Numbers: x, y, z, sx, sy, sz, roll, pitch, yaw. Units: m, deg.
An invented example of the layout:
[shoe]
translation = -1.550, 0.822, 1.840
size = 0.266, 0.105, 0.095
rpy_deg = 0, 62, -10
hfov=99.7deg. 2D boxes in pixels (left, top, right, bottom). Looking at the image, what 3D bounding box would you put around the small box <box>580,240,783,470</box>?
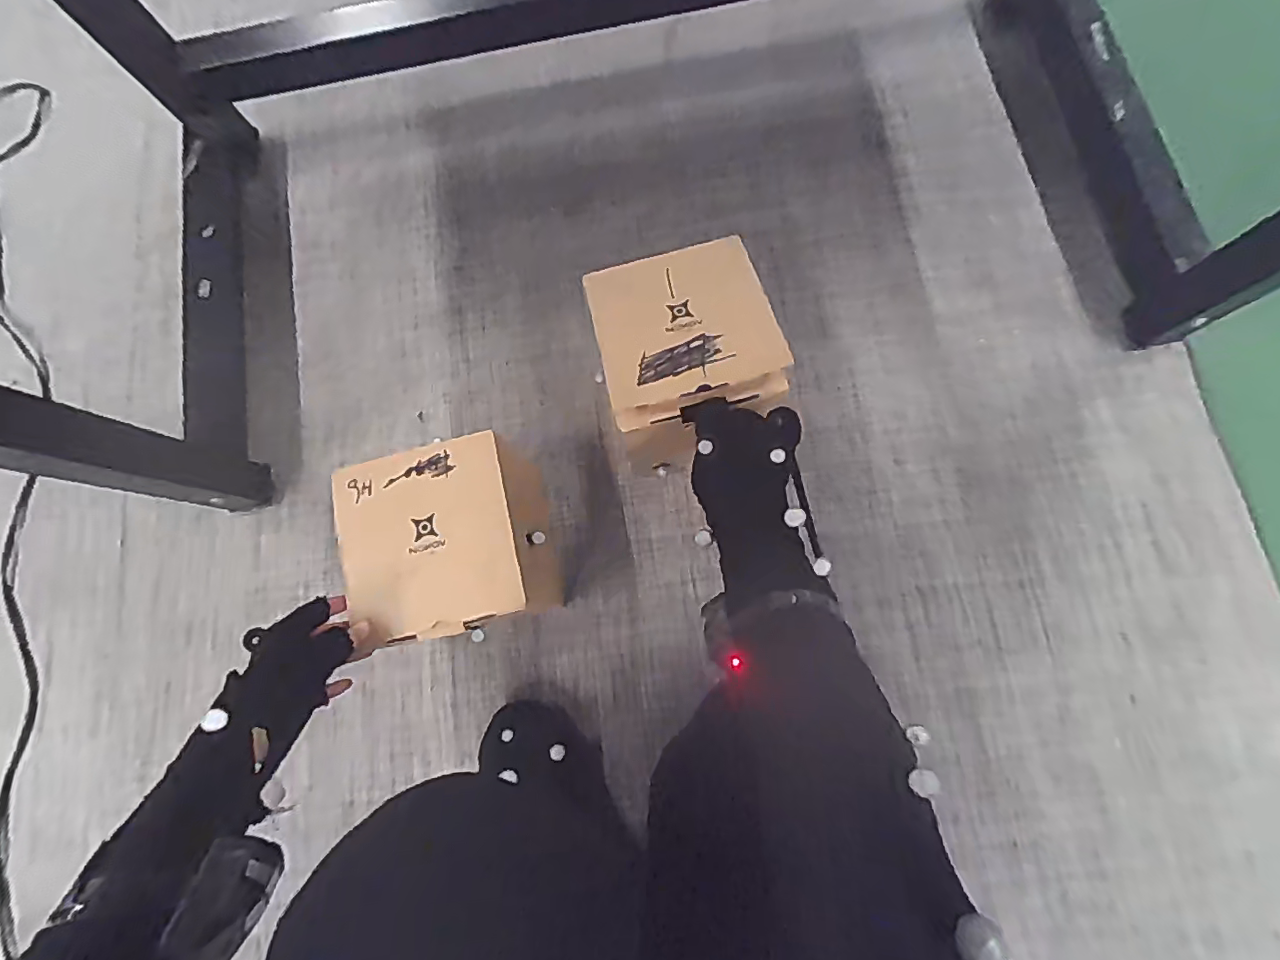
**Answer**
[small box]
translation = 0.046, -0.121, 0.600
size = 0.168, 0.176, 0.179
rpy_deg = -15, 73, 2
